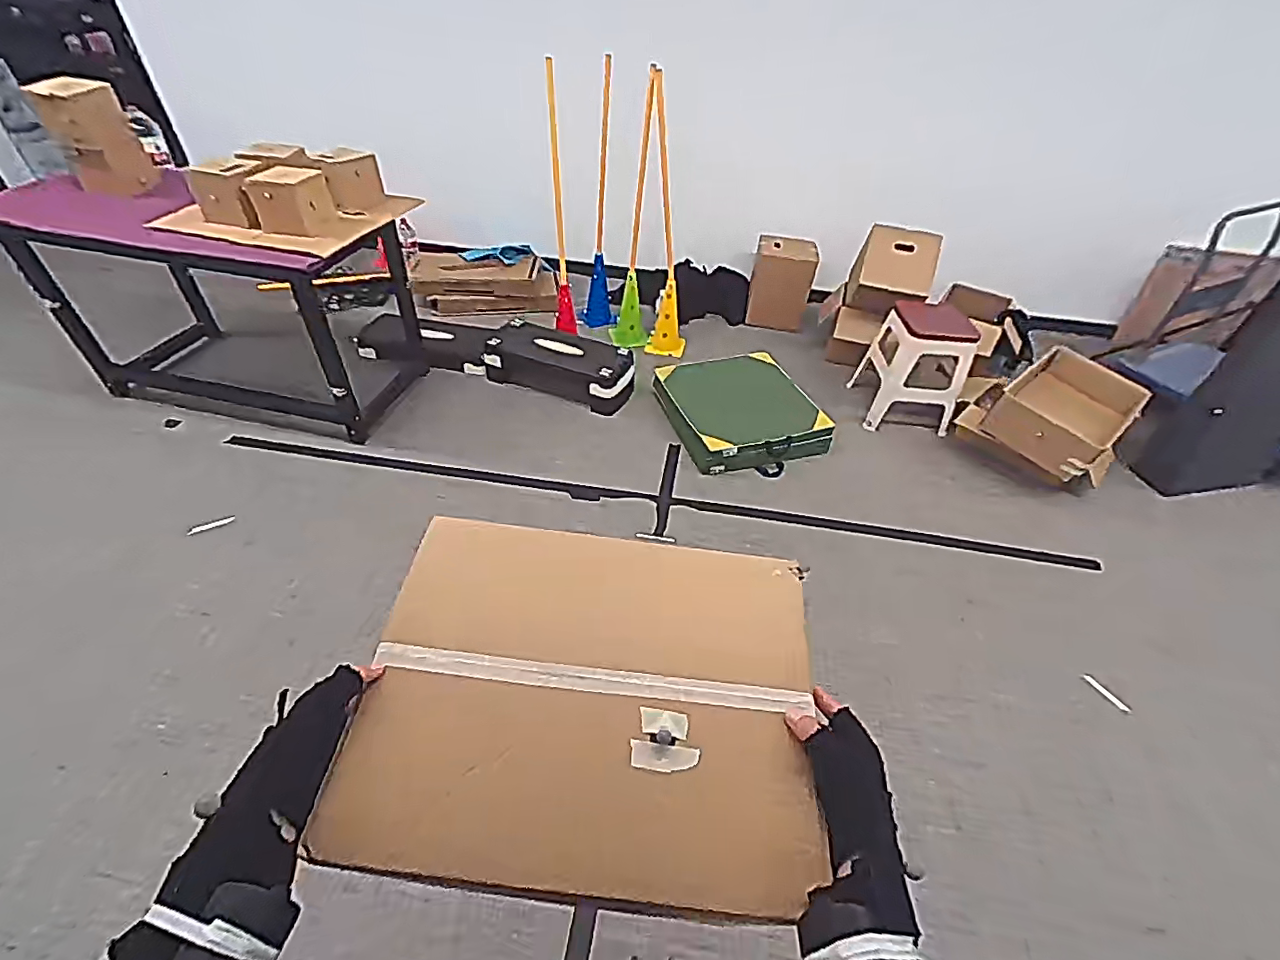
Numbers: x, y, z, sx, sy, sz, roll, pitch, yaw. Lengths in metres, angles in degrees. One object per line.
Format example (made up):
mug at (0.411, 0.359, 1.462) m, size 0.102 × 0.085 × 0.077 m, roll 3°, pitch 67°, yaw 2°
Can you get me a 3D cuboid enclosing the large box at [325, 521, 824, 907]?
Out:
large box at (-0.052, 0.280, 0.629) m, size 0.408 × 0.320 × 0.320 m, roll 8°, pitch 52°, yaw 0°
